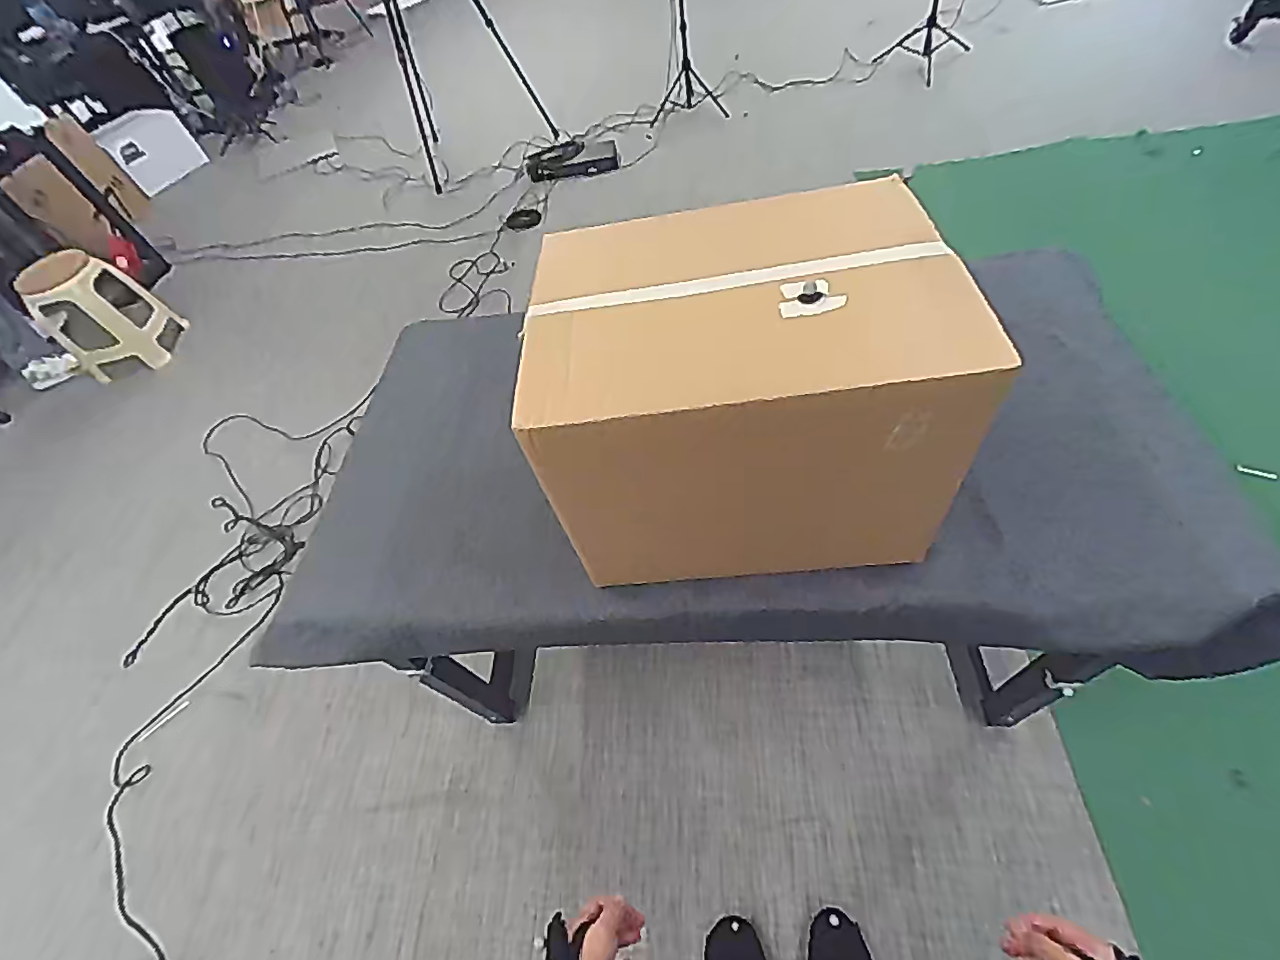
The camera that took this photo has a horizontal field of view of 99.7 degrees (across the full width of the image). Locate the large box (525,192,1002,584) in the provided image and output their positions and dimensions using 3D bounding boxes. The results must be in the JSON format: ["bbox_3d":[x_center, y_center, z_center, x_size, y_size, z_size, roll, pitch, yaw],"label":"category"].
[{"bbox_3d":[0.111,-0.094,0.653,0.408,0.320,0.320,-6,52,6],"label":"large box"}]
